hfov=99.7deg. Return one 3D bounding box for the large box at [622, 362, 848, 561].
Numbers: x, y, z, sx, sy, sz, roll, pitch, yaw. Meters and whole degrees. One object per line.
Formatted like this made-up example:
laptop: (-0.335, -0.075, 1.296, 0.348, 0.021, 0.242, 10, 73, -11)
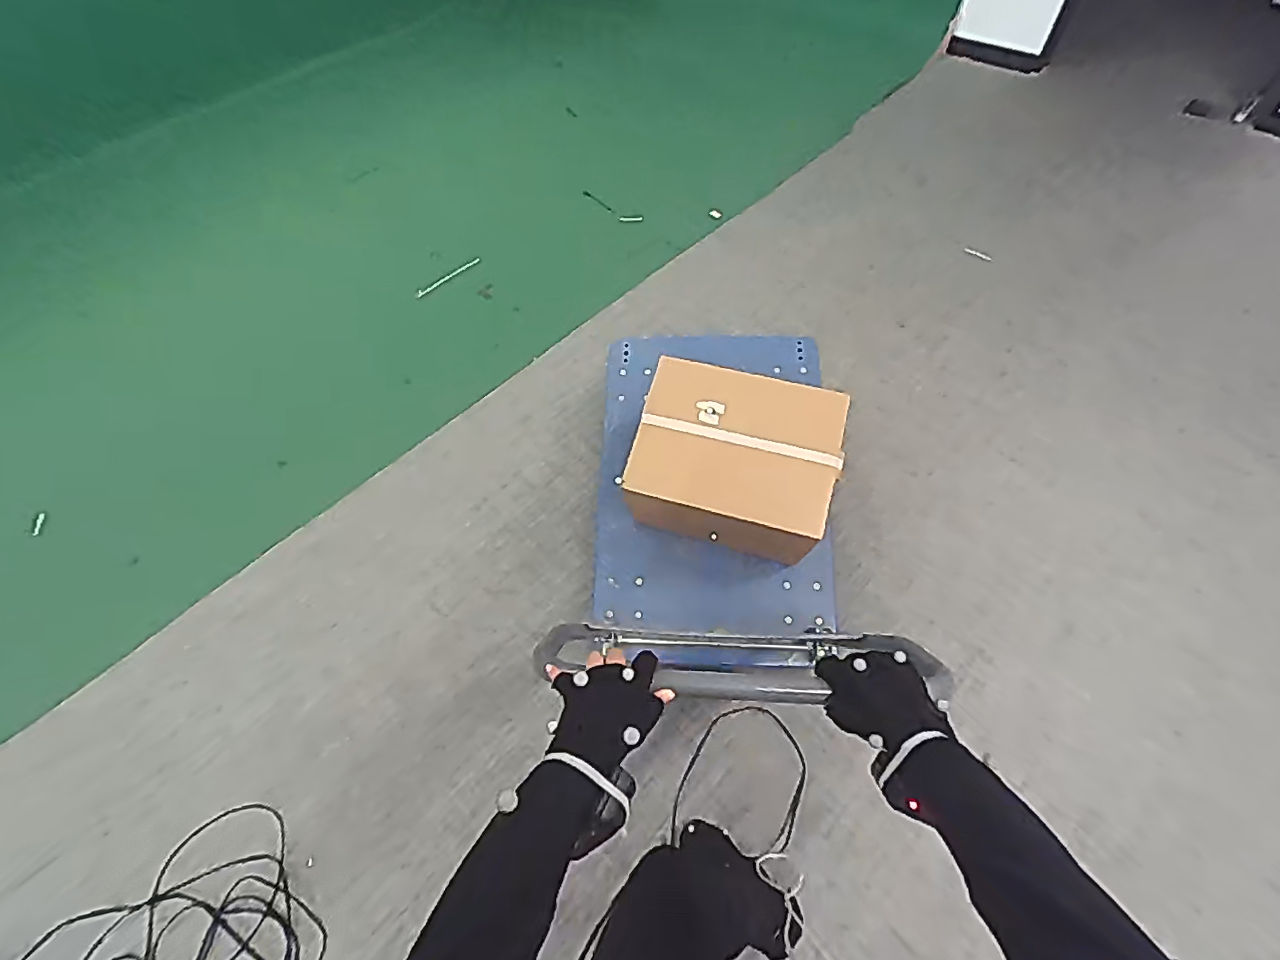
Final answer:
large box: (0.211, -0.028, 1.231, 0.408, 0.320, 0.320, 14, 74, 11)
